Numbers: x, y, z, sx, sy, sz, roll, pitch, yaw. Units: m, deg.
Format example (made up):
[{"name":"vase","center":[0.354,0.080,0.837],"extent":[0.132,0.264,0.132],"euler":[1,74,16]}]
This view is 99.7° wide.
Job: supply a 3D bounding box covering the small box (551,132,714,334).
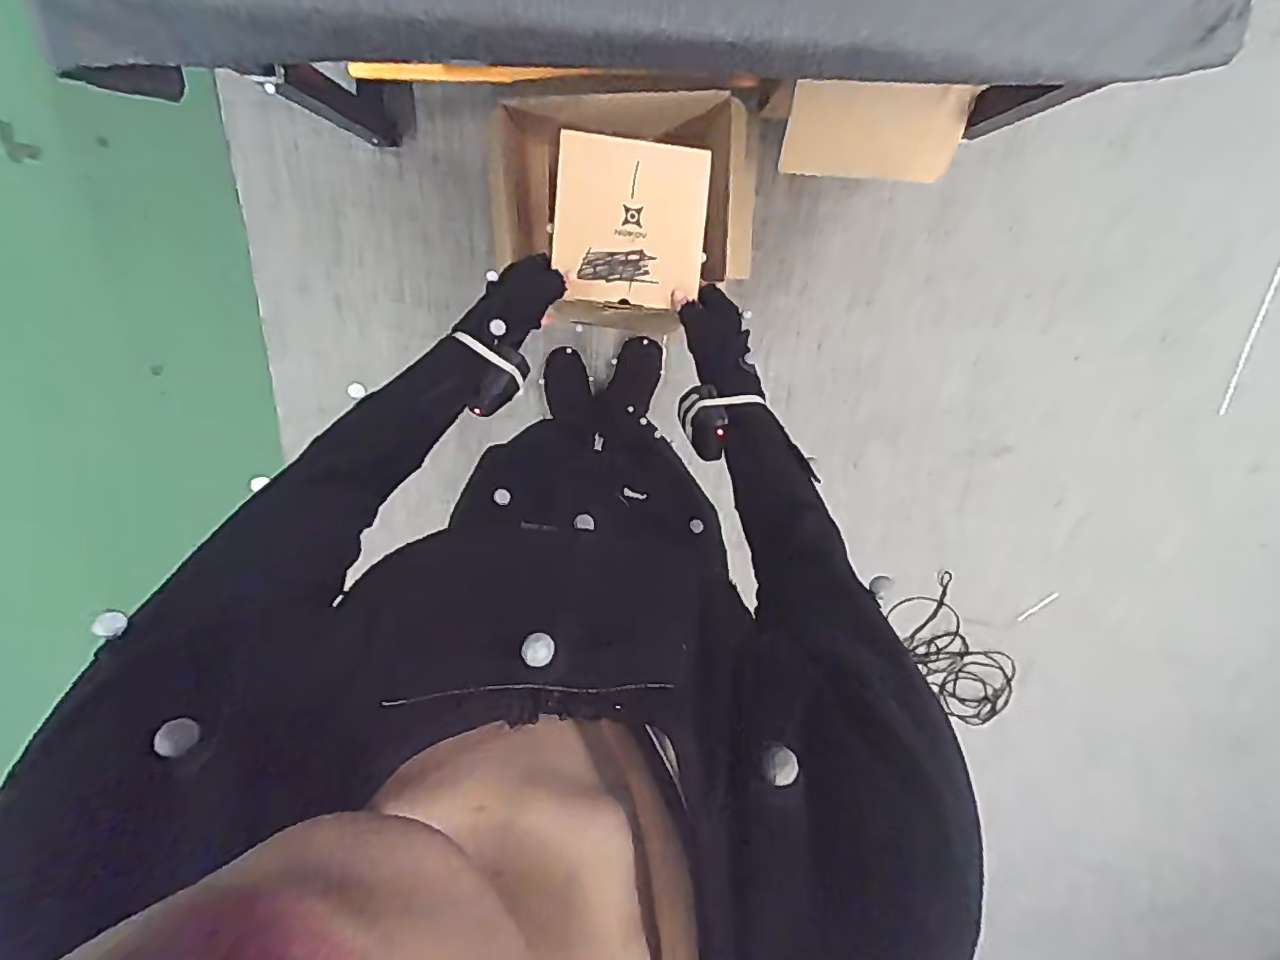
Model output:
[{"name":"small box","center":[-0.015,-0.283,0.664],"extent":[0.168,0.176,0.179],"euler":[4,96,-6]}]
